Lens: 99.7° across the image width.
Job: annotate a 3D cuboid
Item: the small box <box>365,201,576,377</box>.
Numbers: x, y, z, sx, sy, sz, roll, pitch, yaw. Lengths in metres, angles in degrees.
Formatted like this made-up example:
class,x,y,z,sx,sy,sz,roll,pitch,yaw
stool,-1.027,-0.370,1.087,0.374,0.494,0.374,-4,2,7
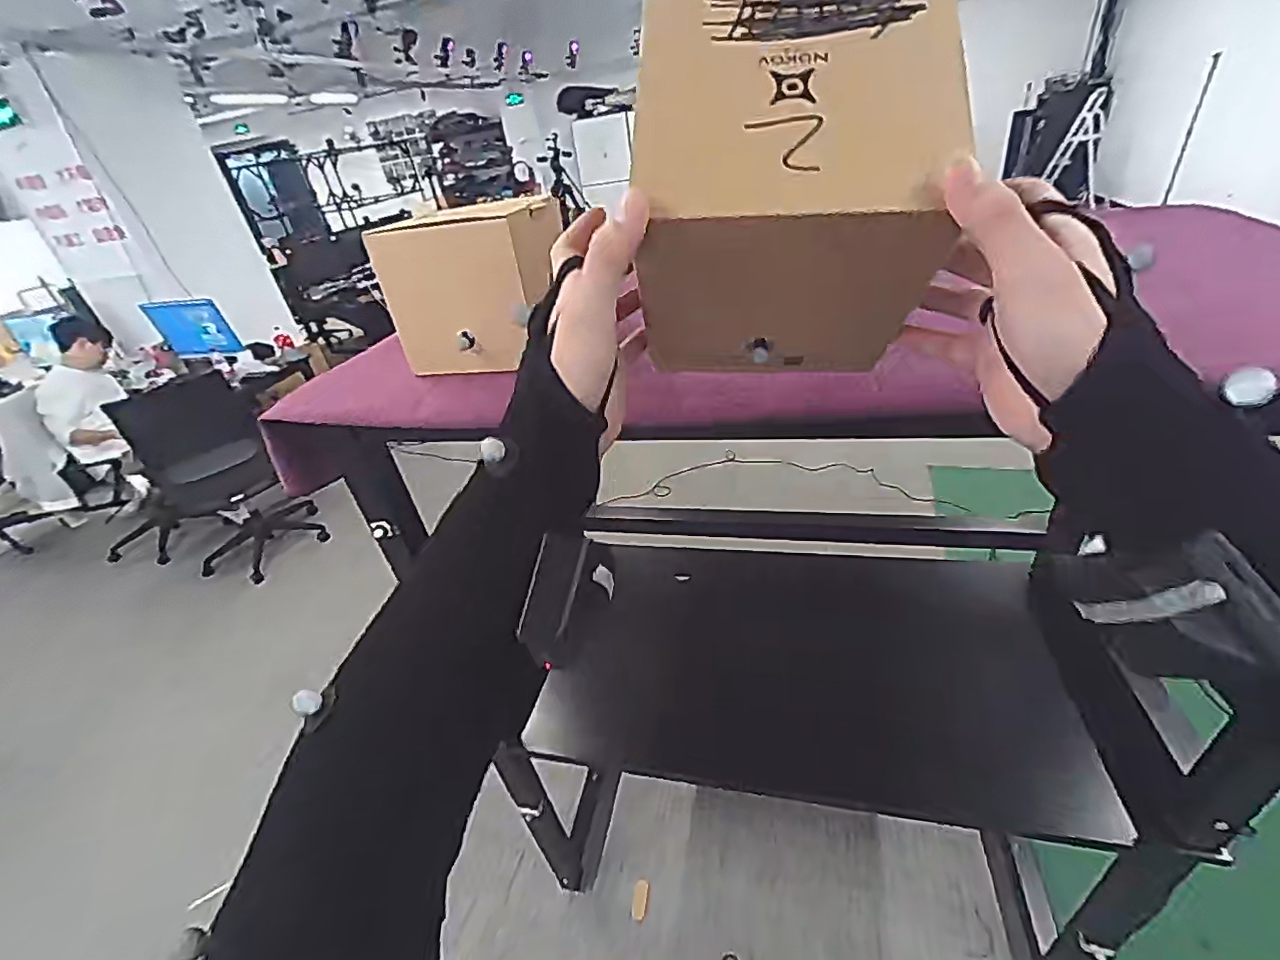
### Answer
class,x,y,z,sx,sy,sz,roll,pitch,yaw
small box,-0.192,-0.237,0.677,0.179,0.176,0.168,0,32,14
